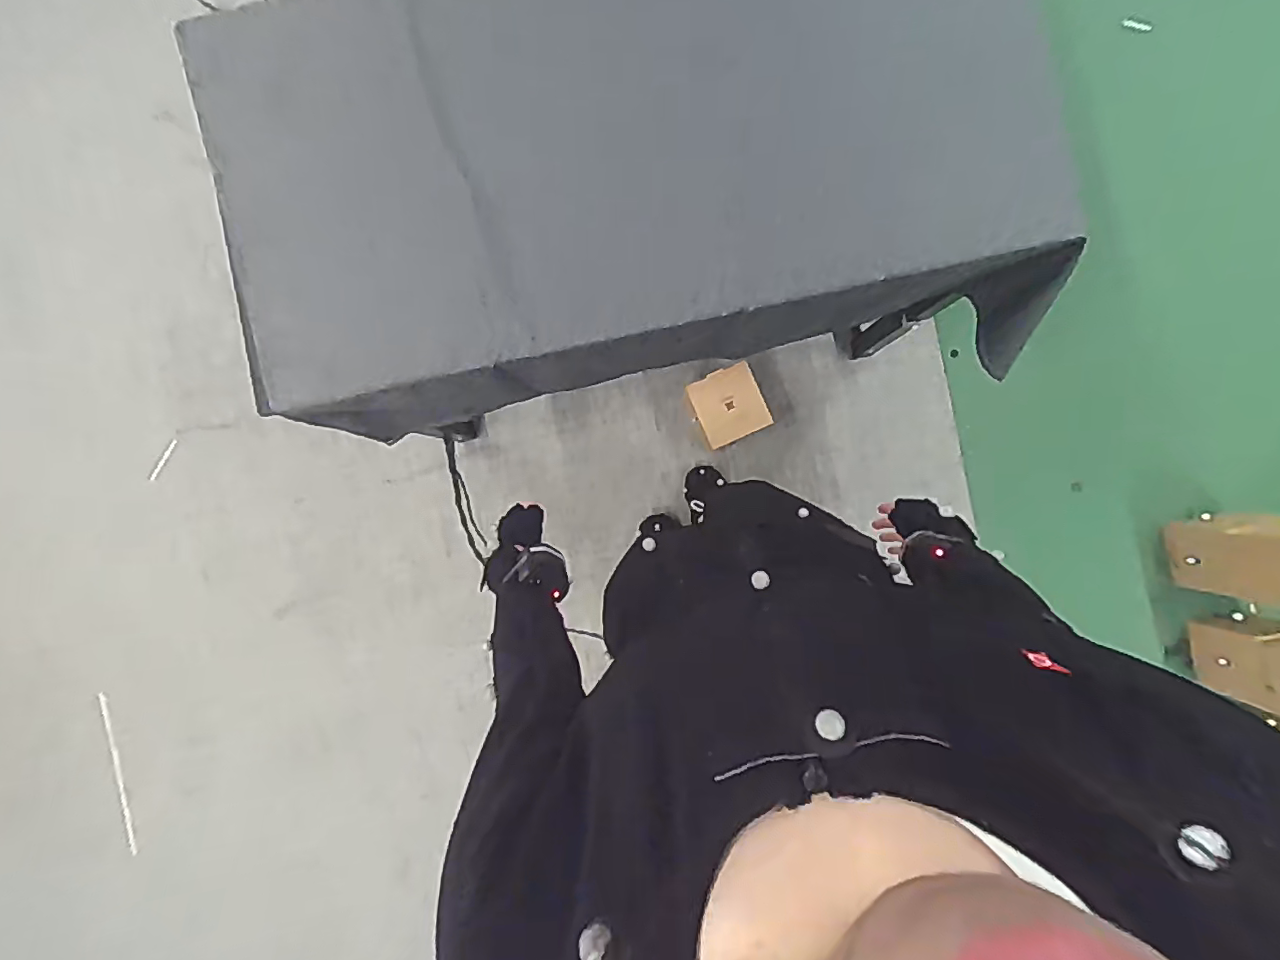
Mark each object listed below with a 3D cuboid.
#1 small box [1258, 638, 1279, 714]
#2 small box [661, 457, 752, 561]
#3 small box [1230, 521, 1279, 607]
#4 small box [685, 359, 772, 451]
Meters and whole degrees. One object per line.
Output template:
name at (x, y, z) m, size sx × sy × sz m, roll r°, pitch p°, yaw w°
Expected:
small box at (1.527, 0.447, 1.184) m, size 0.179 × 0.176 × 0.168 m, roll -10°, pitch 90°, yaw 2°
small box at (0.179, 0.078, 1.412) m, size 0.168 × 0.176 × 0.179 m, roll 27°, pitch 65°, yaw 30°
small box at (1.474, 0.185, 1.189) m, size 0.168 × 0.176 × 0.179 m, roll -14°, pitch 89°, yaw 2°
small box at (0.221, -0.187, 1.407) m, size 0.168 × 0.176 × 0.179 m, roll -23°, pitch 88°, yaw 3°
